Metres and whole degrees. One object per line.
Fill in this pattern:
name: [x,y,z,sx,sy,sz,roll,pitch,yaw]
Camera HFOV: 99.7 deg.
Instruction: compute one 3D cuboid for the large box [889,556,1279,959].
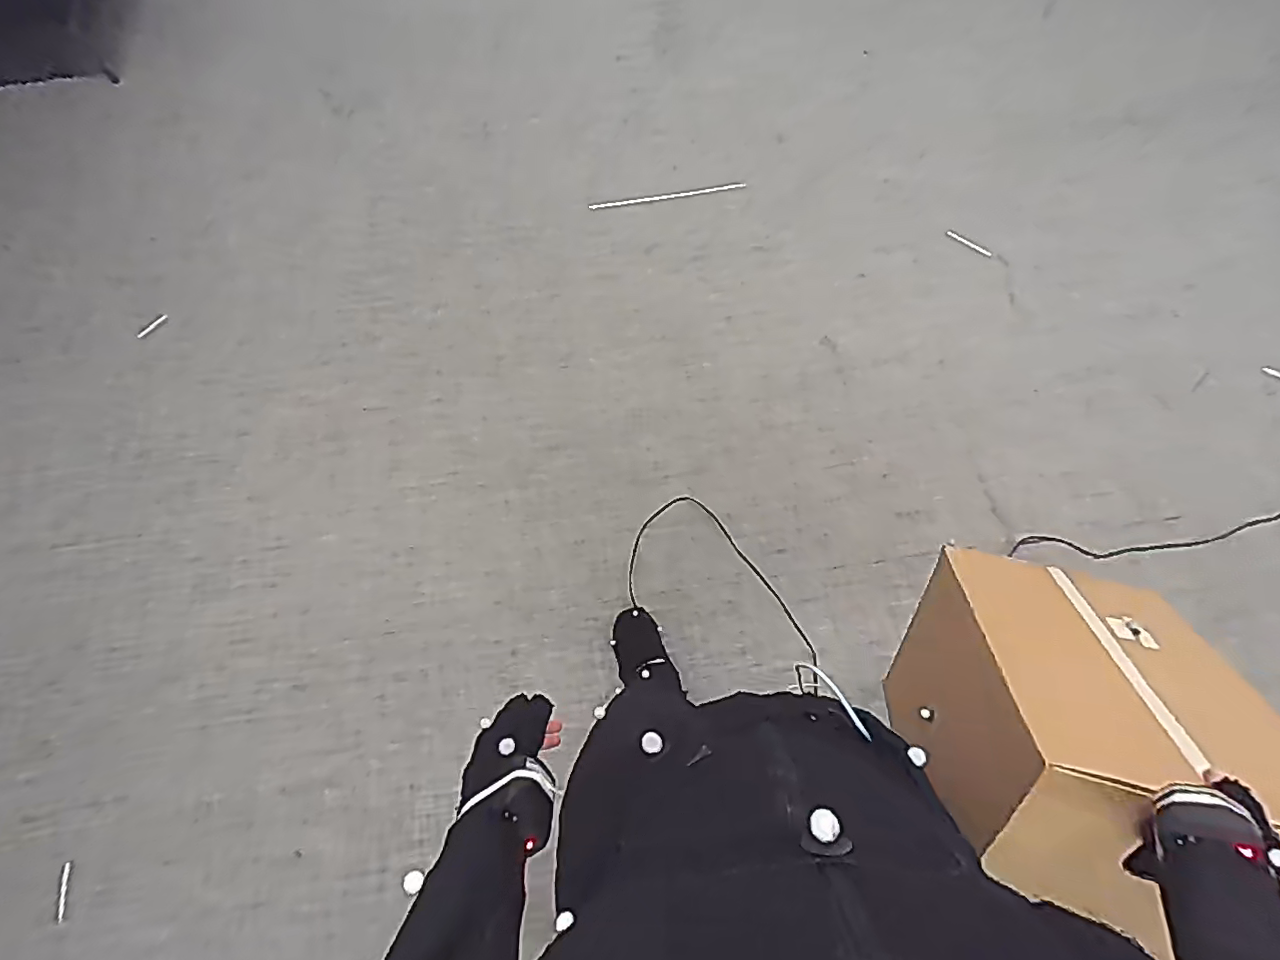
large box: [0.572,0.365,0.735,0.320,0.408,0.320,13,117,9]
